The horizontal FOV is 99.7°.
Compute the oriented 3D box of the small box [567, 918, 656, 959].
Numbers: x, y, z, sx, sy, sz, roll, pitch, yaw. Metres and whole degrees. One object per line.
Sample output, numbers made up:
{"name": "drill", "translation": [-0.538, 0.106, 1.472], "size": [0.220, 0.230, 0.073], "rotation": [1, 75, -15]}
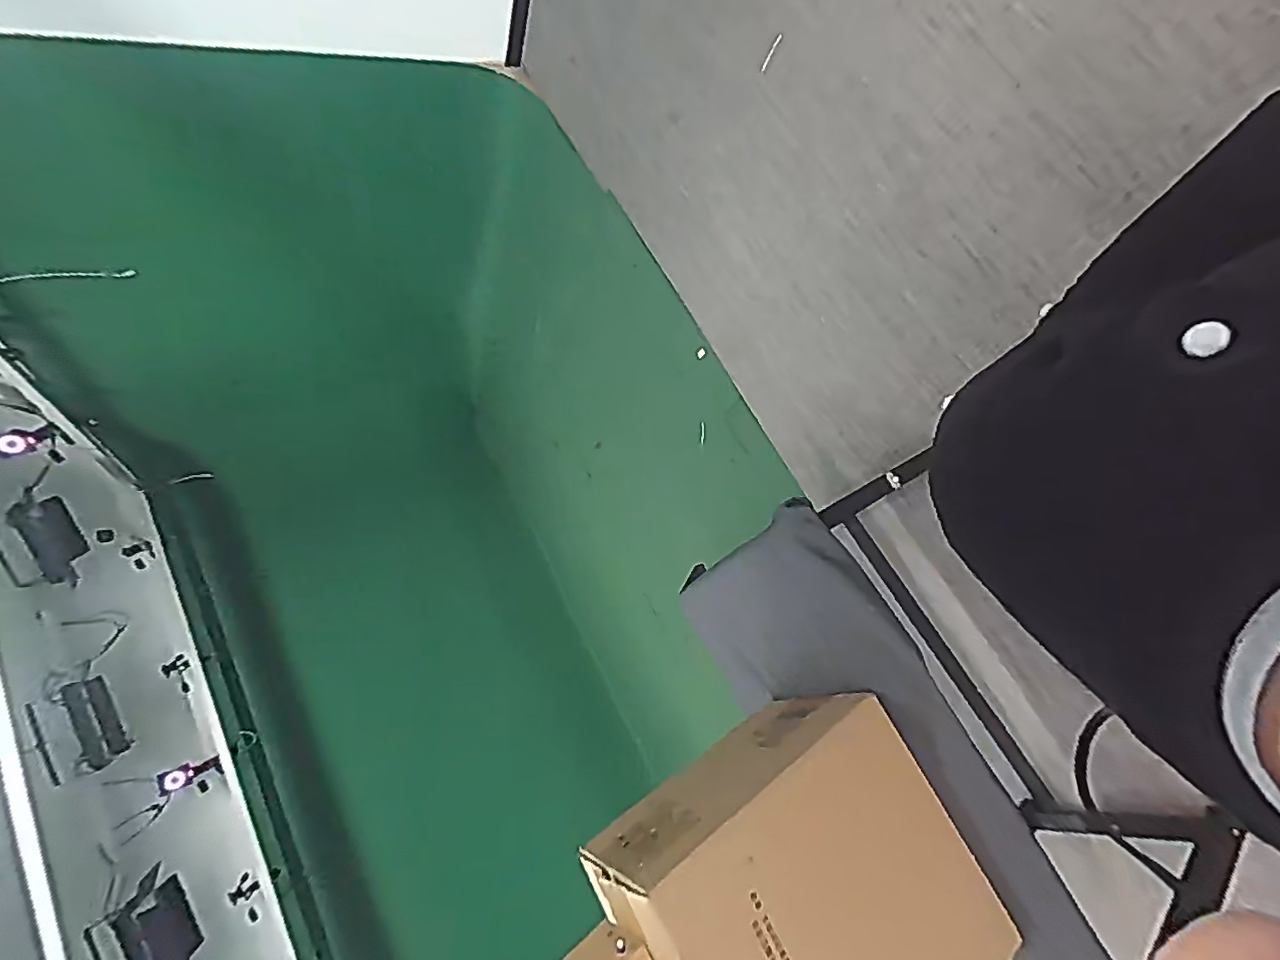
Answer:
{"name": "small box", "translation": [-0.047, 0.906, 0.922], "size": [0.179, 0.176, 0.168], "rotation": [61, 144, 10]}
